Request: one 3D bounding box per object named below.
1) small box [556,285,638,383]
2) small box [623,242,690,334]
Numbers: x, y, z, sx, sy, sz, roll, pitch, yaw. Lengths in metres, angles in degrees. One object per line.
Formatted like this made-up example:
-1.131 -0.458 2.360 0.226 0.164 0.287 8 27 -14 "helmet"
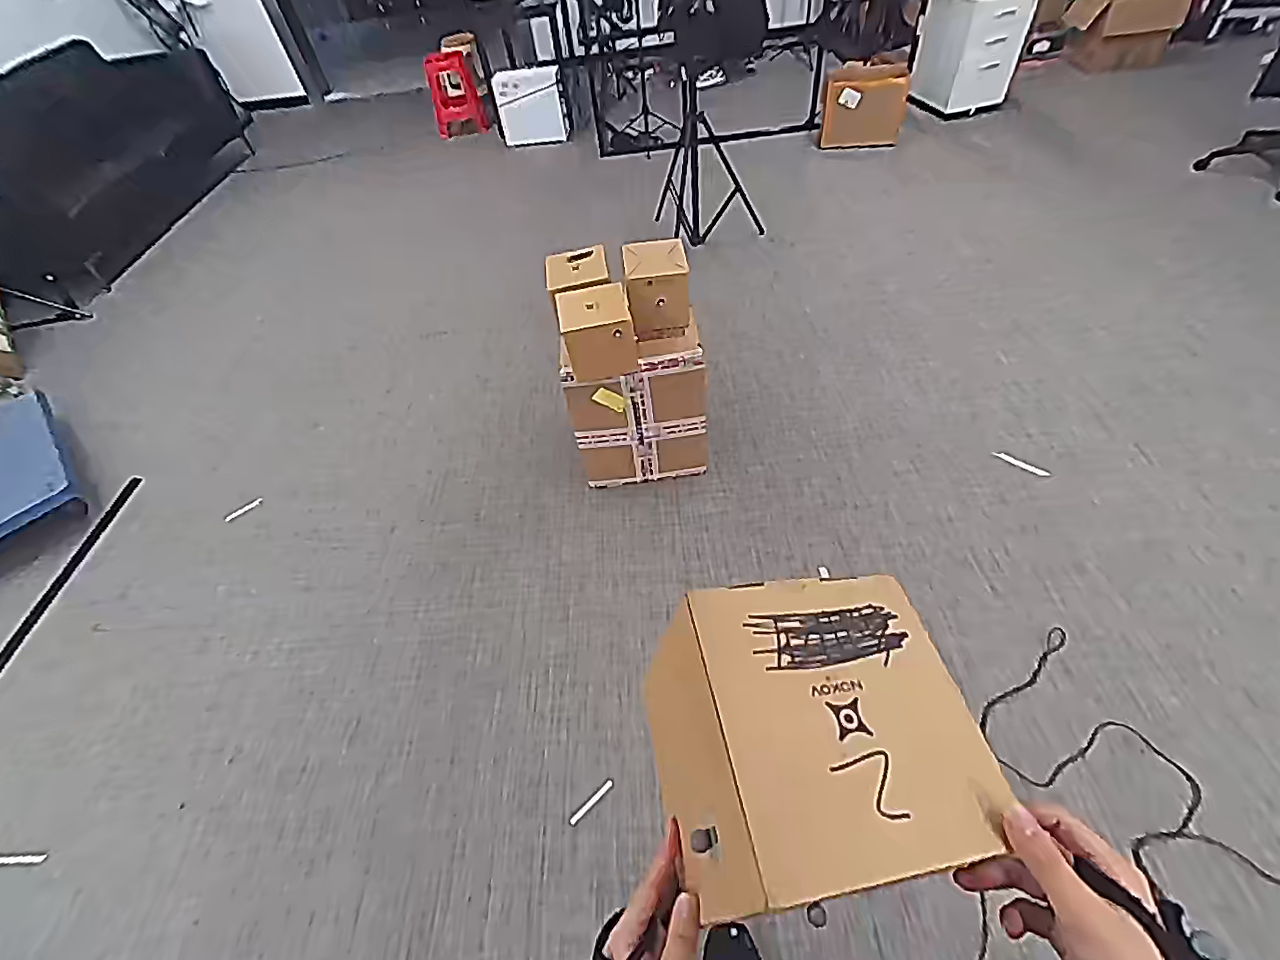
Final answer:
-0.110 -0.374 1.403 0.179 0.176 0.168 -12 52 -2 "small box"
0.044 -0.533 1.502 0.168 0.176 0.179 -6 51 -1 "small box"
